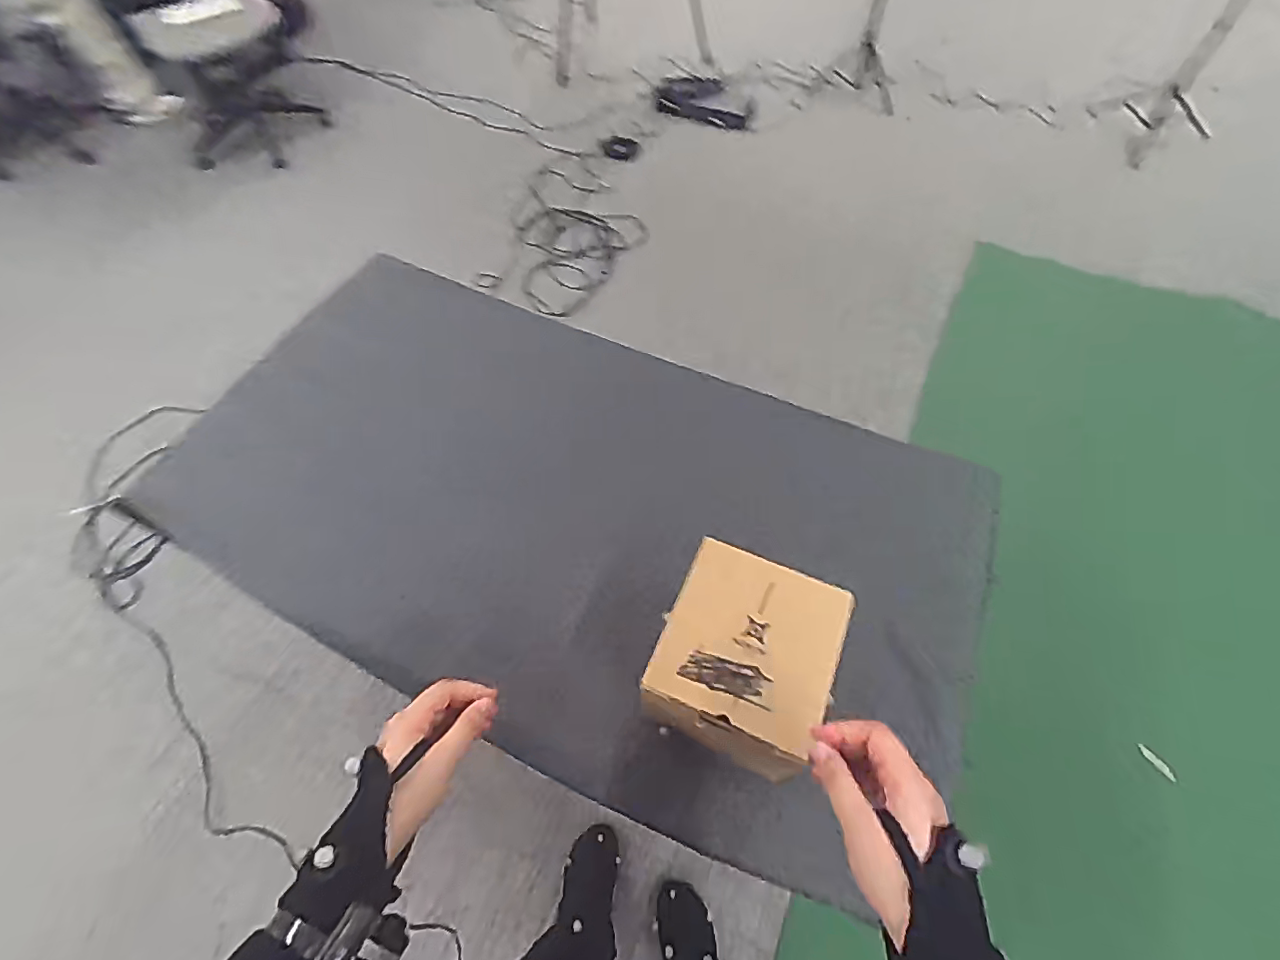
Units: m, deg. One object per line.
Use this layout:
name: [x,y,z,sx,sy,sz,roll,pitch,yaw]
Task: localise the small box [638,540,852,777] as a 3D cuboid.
small box: [0.110,0.203,0.599,0.168,0.176,0.179,21,59,14]
